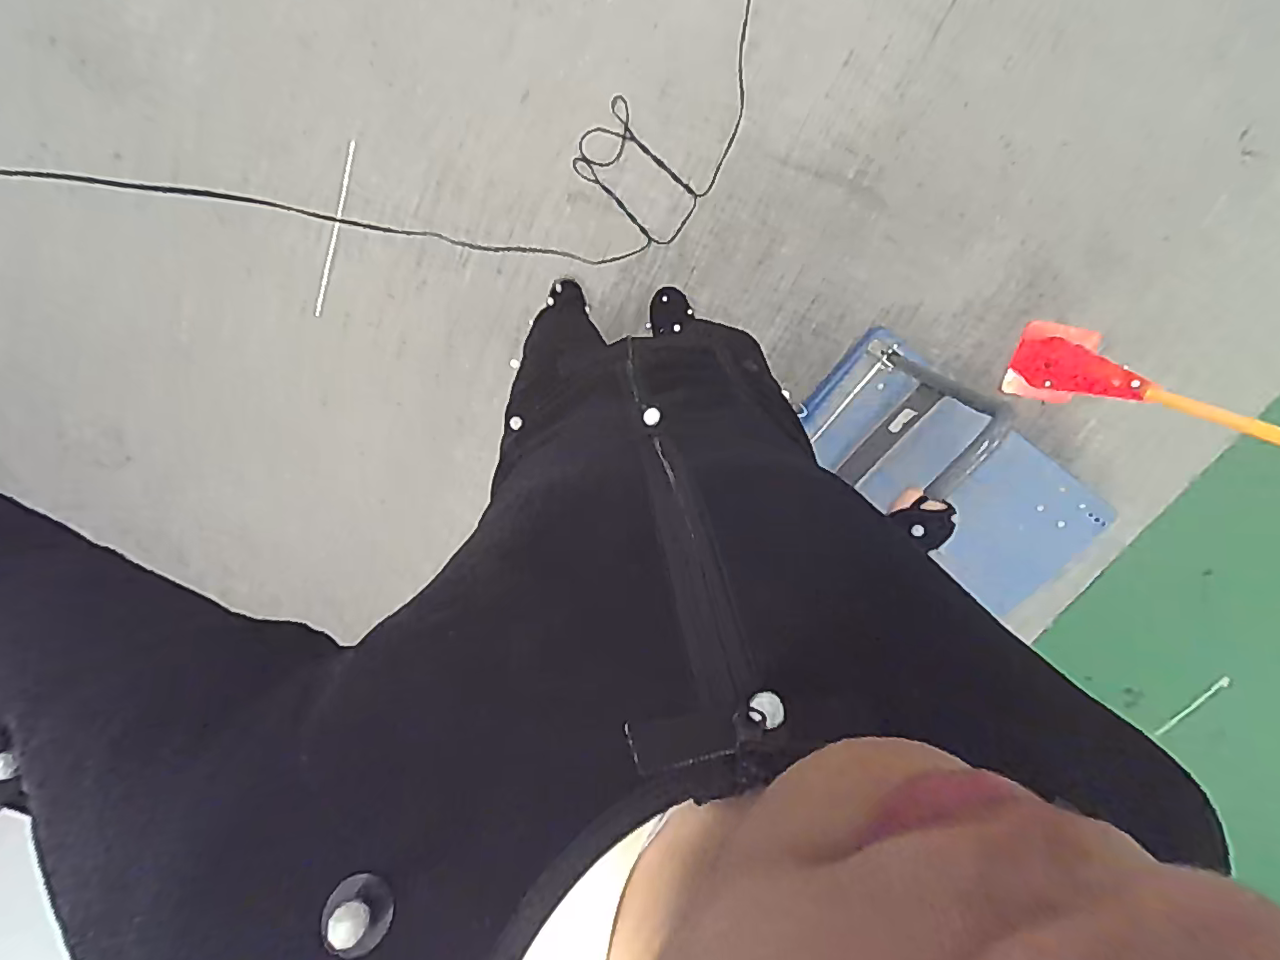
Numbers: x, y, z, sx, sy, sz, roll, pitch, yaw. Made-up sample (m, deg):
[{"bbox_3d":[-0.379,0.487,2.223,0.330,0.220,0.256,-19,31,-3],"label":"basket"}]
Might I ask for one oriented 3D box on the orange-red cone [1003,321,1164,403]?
[{"bbox_3d":[1.106,-0.254,1.312,0.198,0.360,0.199,12,112,-1],"label":"orange-red cone"}]
